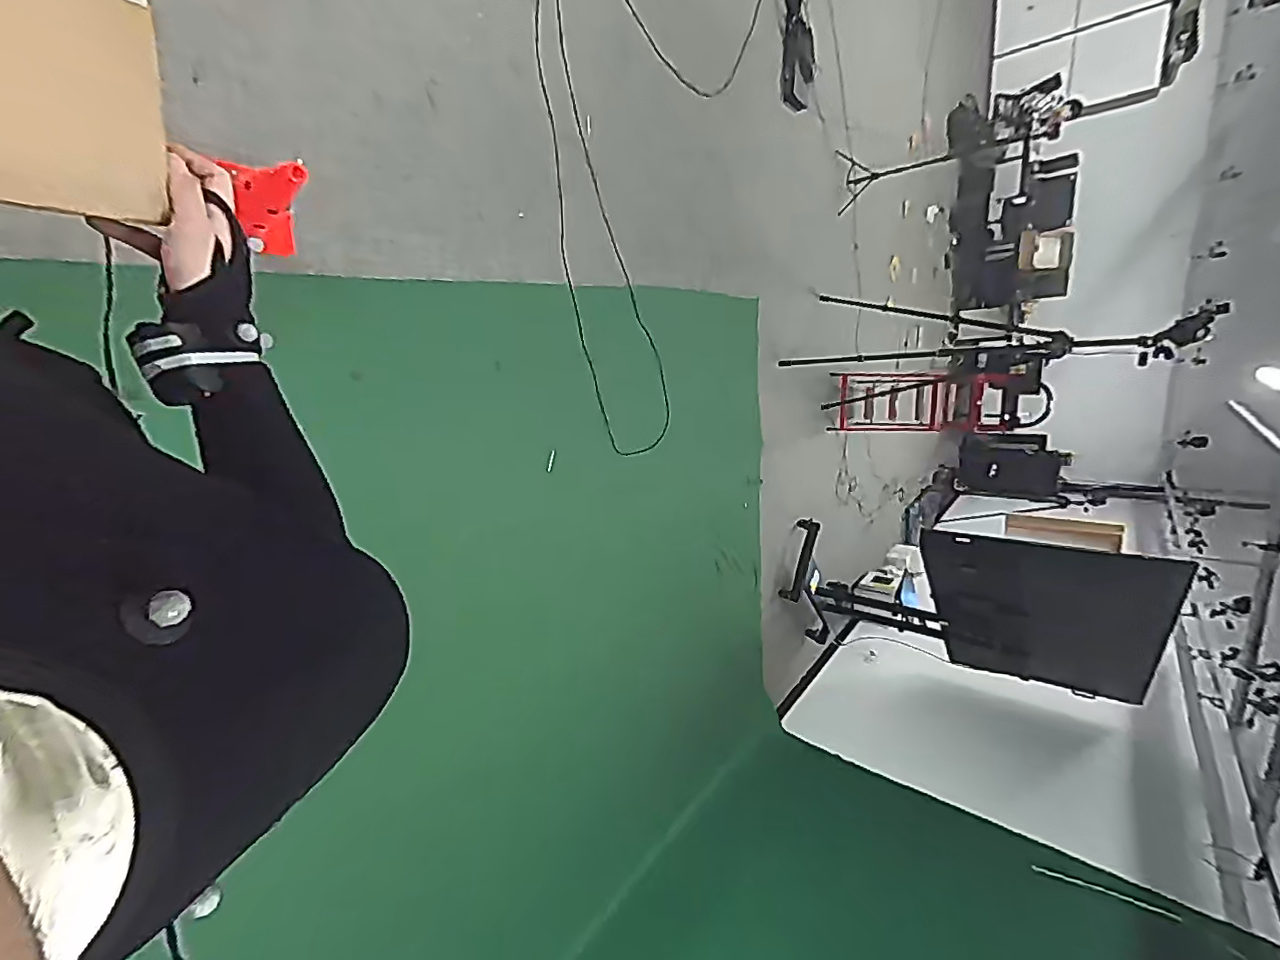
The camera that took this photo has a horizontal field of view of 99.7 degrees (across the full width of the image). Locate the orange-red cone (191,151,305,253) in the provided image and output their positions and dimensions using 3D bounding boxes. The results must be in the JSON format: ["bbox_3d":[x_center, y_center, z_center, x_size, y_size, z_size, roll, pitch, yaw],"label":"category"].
[{"bbox_3d":[-0.851,-0.663,1.234,0.199,0.360,0.198,-10,104,-51],"label":"orange-red cone"}]
